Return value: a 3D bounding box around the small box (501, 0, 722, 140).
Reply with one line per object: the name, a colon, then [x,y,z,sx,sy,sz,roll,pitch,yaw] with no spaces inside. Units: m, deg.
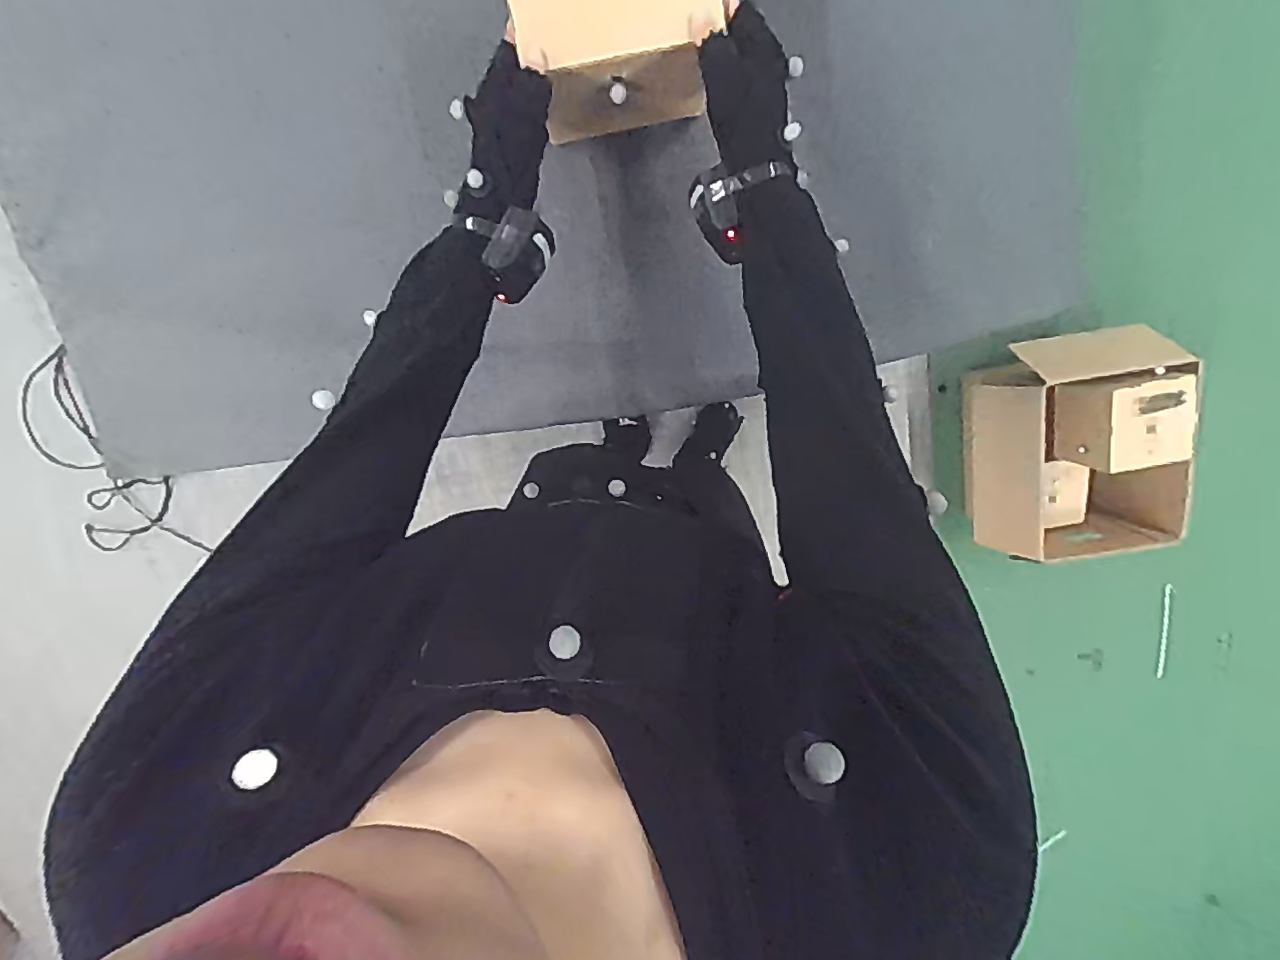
small box: [-0.031,-0.443,0.499,0.179,0.176,0.168,-9,105,3]
